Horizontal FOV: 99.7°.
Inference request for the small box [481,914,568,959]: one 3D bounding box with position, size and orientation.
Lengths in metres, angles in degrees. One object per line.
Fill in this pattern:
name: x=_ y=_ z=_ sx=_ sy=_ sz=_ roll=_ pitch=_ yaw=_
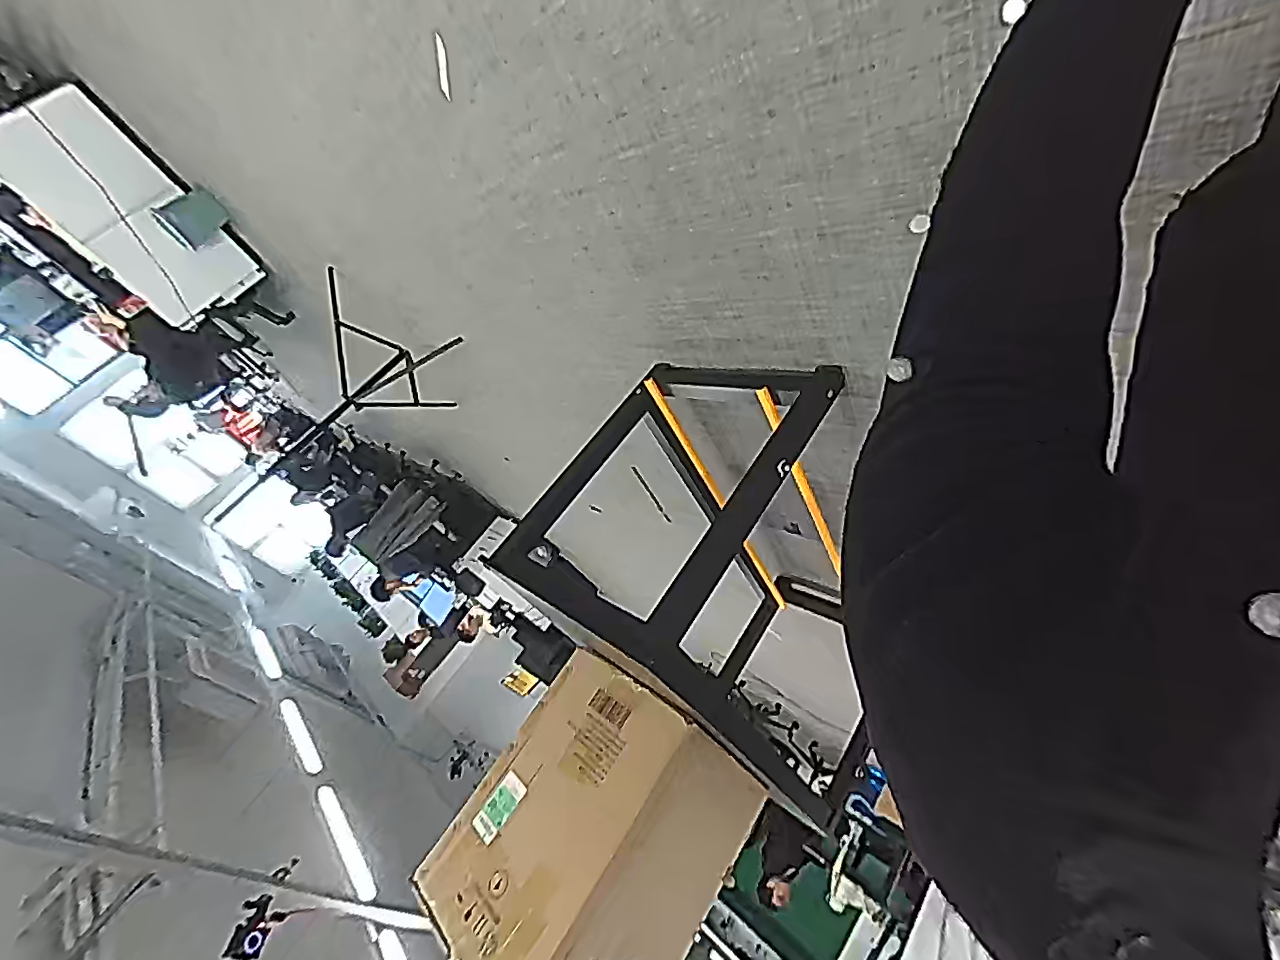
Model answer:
small box: x=-0.293 y=1.234 z=1.341 sx=0.179 sy=0.176 sz=0.168 roll=16 pitch=149 yaw=45
